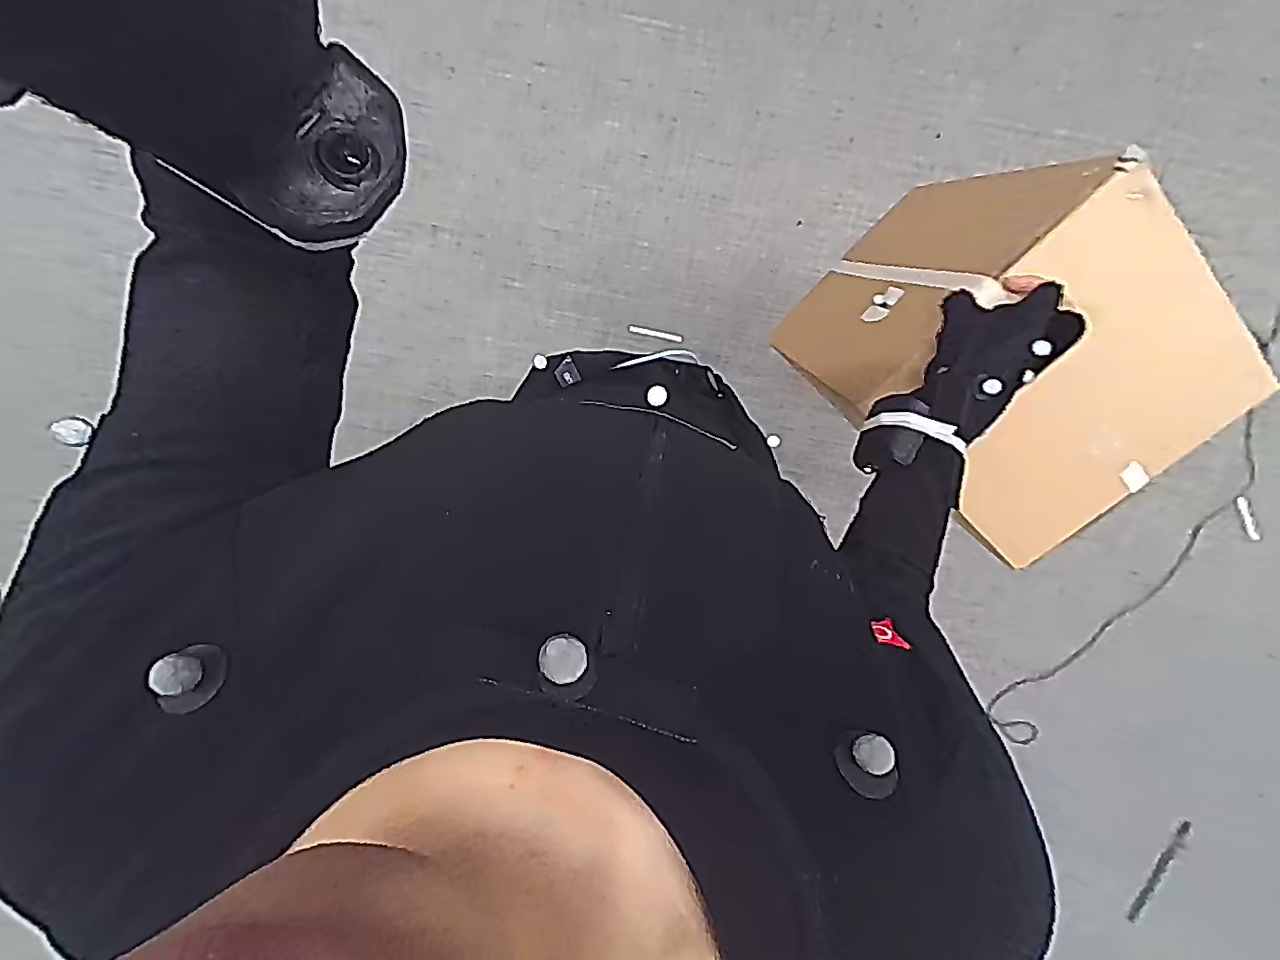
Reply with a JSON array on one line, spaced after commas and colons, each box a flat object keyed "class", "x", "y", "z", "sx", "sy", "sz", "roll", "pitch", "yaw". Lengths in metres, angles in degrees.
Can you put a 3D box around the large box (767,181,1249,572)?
[{"class": "large box", "x": 0.436, "y": -0.155, "z": 0.746, "sx": 0.320, "sy": 0.408, "sz": 0.320, "roll": 39, "pitch": 108, "yaw": -19}]
